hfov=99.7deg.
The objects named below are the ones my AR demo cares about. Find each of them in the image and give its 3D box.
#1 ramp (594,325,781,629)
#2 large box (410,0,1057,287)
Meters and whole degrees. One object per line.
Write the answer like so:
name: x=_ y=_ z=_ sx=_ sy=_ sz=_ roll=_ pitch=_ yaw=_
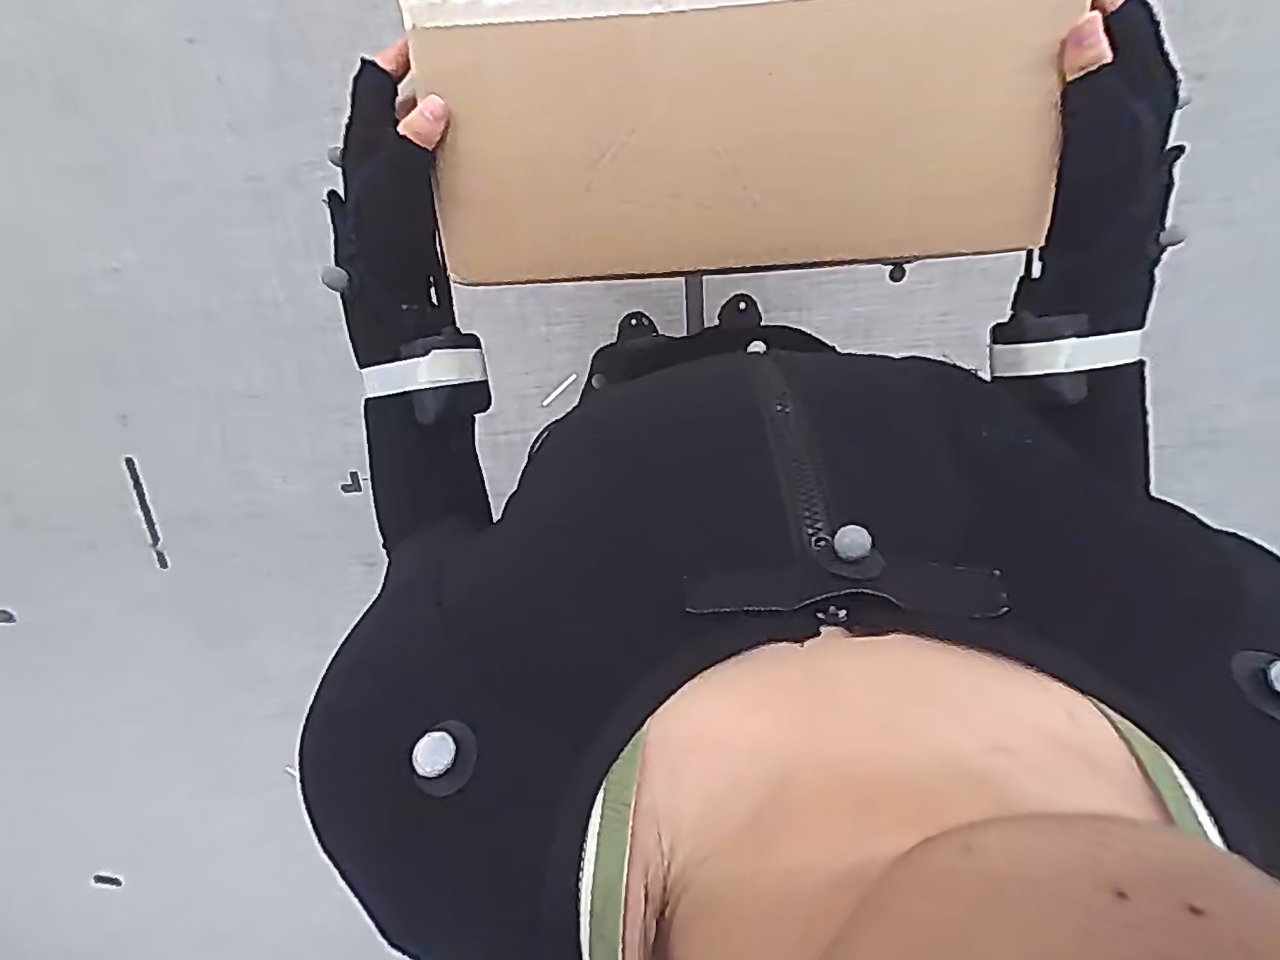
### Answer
ramp: x=0.164 y=0.057 z=1.632 sx=0.509 sy=0.206 sz=0.991 roll=-6 pitch=108 yaw=2
large box: x=0.058 y=-0.348 z=0.466 sx=0.408 sy=0.320 sz=0.320 roll=-3 pitch=110 yaw=1
